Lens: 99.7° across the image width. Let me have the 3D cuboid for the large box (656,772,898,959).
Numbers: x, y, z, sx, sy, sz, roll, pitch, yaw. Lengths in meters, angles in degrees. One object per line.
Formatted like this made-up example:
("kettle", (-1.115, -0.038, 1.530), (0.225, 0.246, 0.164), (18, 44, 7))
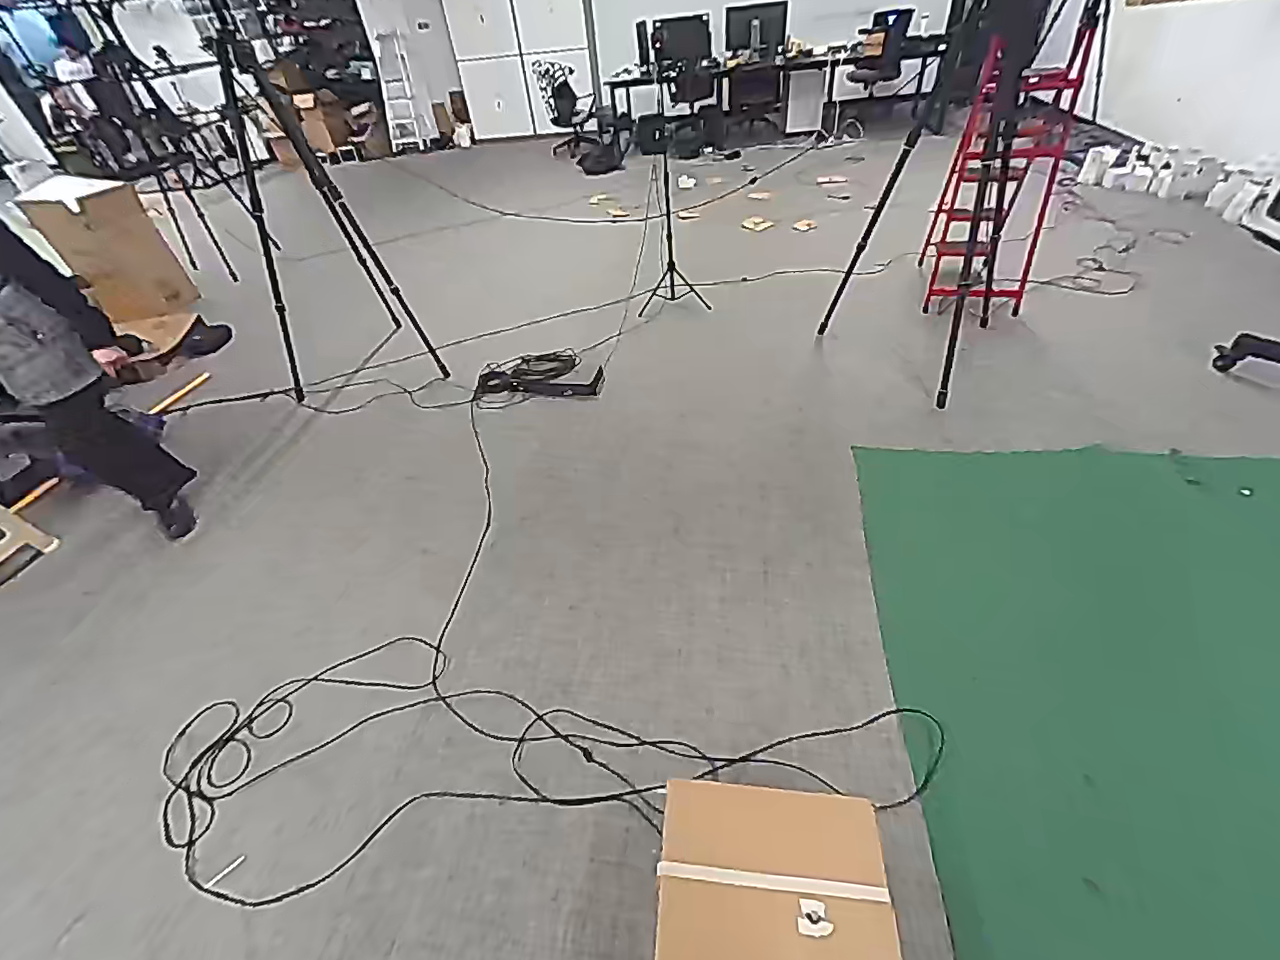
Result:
("large box", (0.242, 0.818, 1.079), (0.408, 0.320, 0.320), (2, 44, 7))
